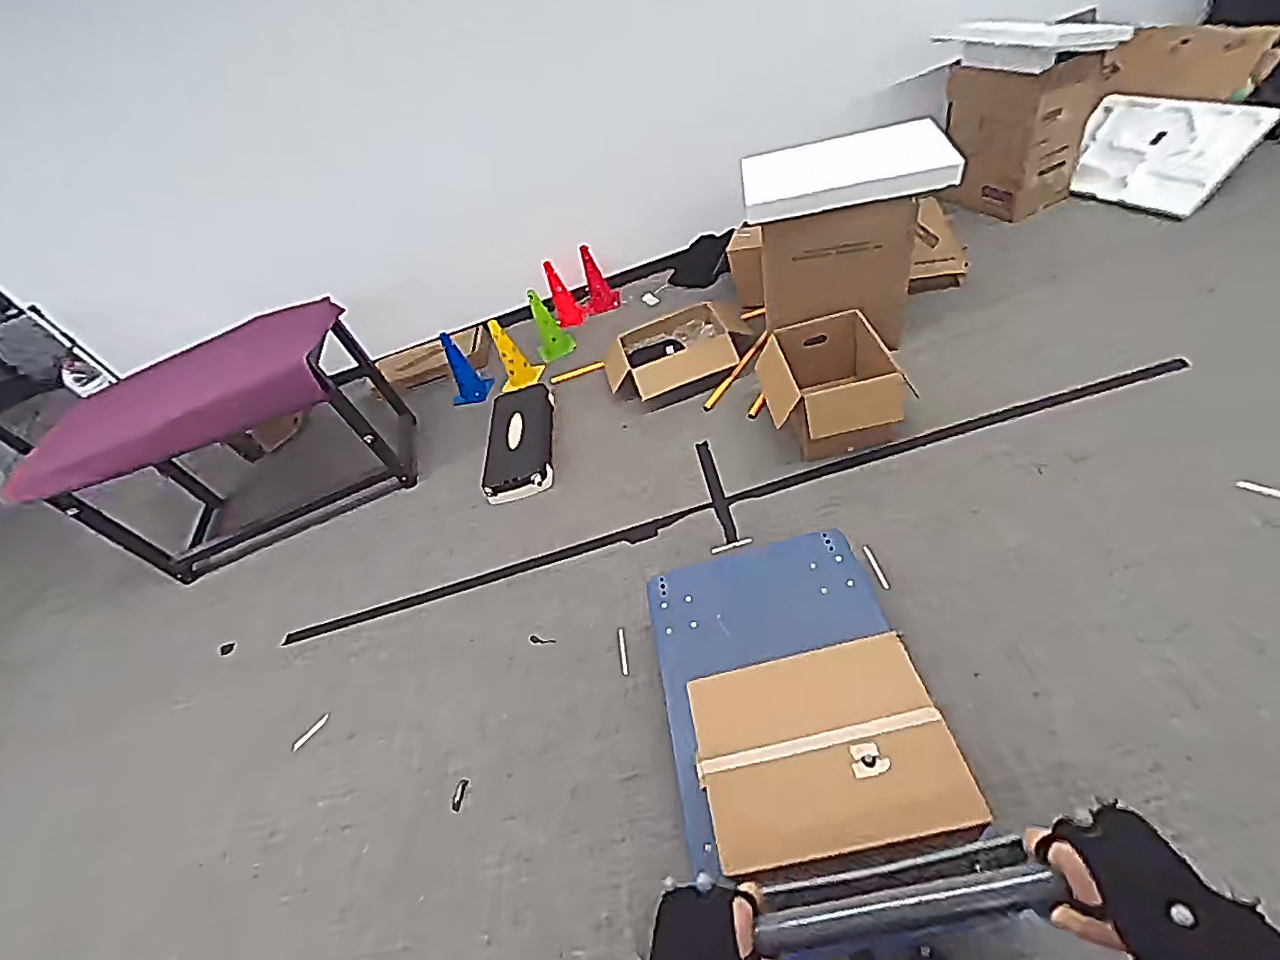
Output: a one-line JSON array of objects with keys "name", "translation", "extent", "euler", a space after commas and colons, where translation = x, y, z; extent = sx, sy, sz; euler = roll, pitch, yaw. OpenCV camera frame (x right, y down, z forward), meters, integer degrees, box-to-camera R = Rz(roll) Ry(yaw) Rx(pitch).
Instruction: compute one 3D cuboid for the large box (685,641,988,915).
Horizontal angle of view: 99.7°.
[{"name": "large box", "translation": [0.329, 0.553, 0.998], "extent": [0.408, 0.320, 0.320], "euler": [-16, 45, 5]}]
